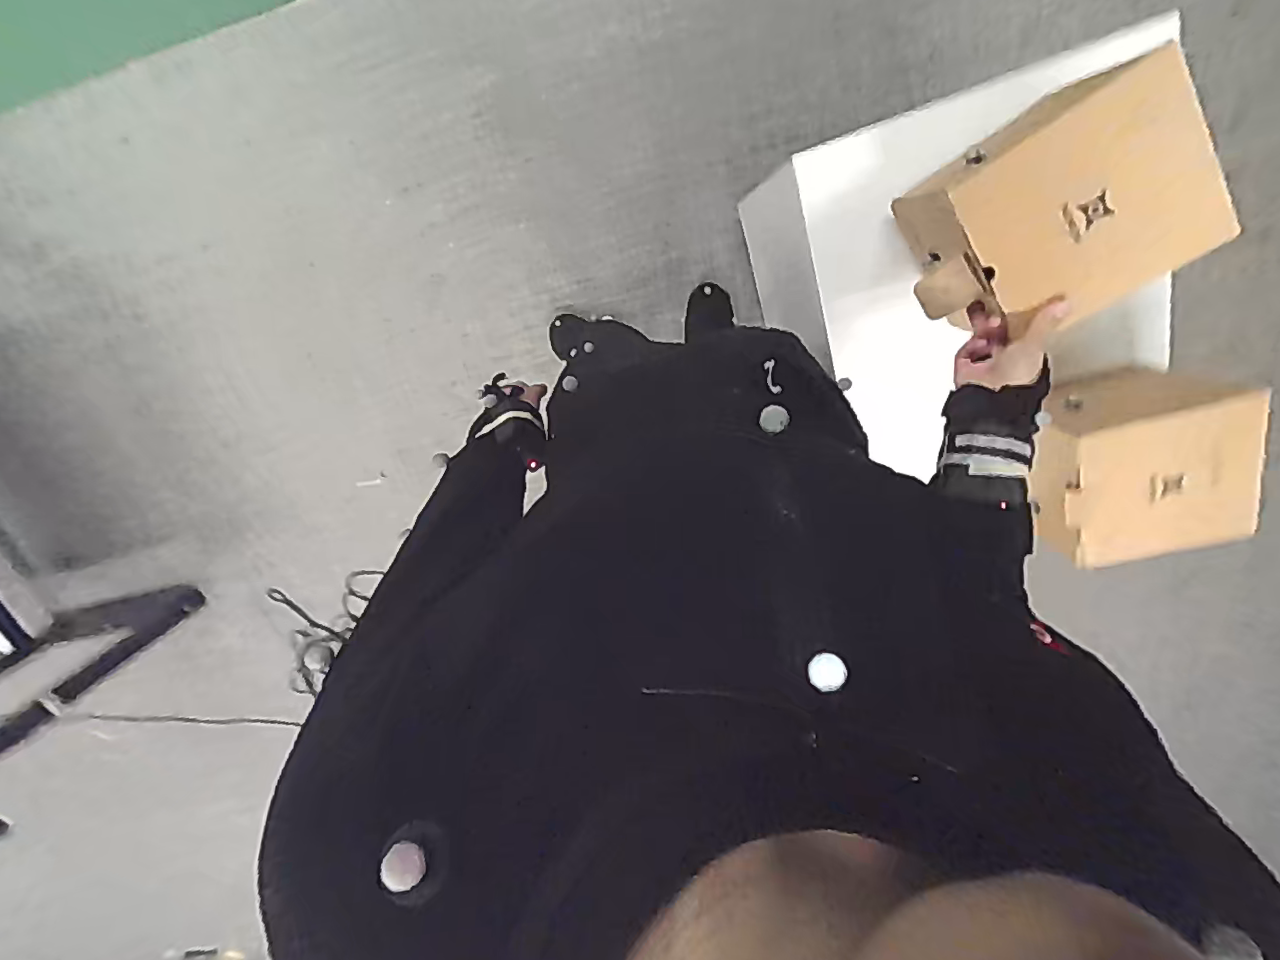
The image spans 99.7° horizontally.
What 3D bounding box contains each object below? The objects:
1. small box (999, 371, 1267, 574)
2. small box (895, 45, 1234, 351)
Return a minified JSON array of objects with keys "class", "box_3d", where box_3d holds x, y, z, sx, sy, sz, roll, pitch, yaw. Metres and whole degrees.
[{"class":"small box","box_3d":[0.556,-0.017,0.641,0.179,0.176,0.168,-15,110,9]},{"class":"small box","box_3d":[0.382,-0.255,0.521,0.179,0.176,0.168,-31,106,21]}]
